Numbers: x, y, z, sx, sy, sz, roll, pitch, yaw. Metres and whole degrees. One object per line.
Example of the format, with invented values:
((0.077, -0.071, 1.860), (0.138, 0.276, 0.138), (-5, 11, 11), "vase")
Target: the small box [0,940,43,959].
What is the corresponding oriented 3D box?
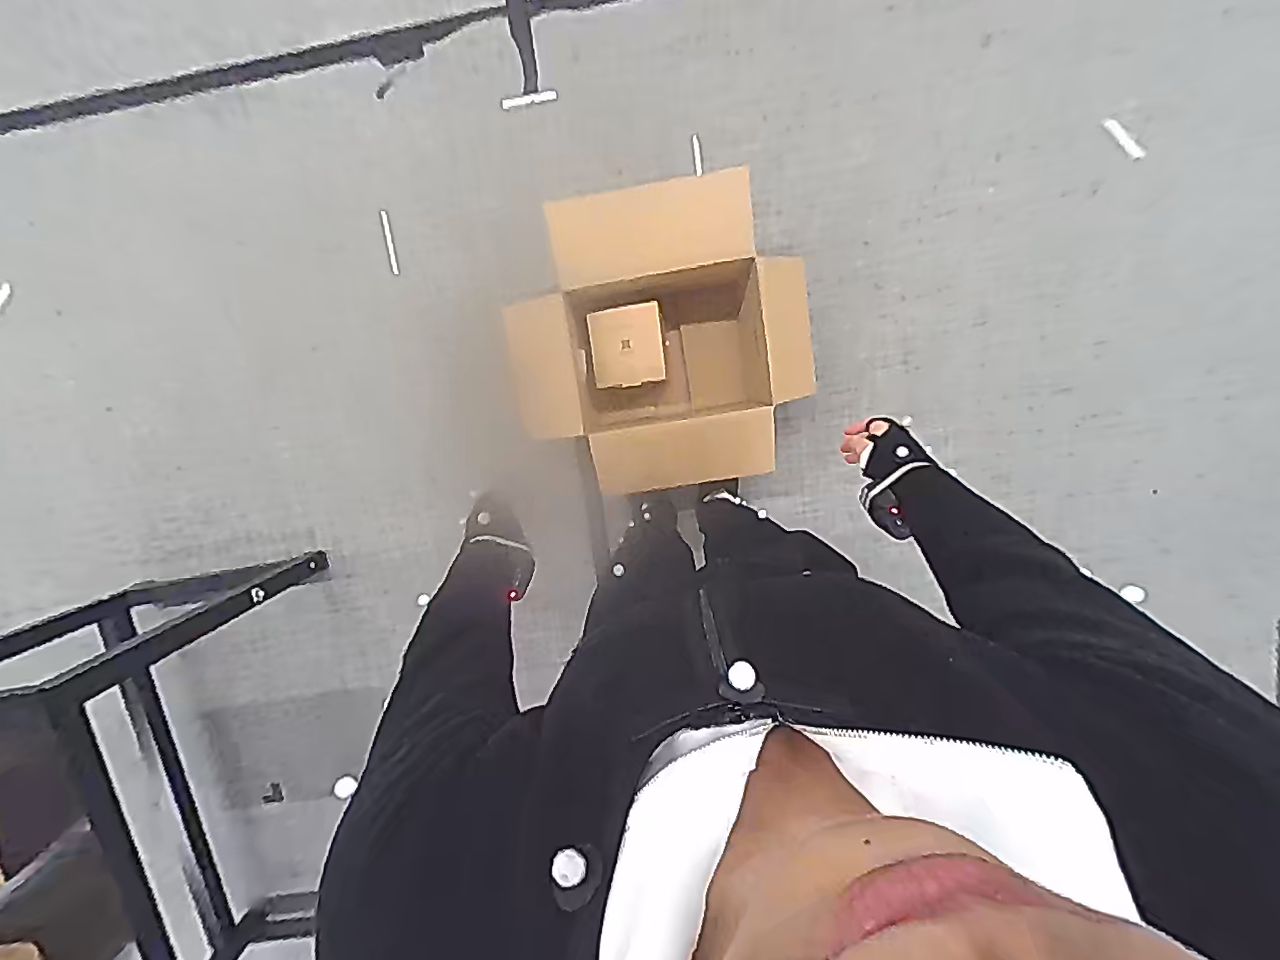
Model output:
((-1.074, 0.858, 0.828), (0.179, 0.176, 0.168), (-9, 100, 3), "small box")
